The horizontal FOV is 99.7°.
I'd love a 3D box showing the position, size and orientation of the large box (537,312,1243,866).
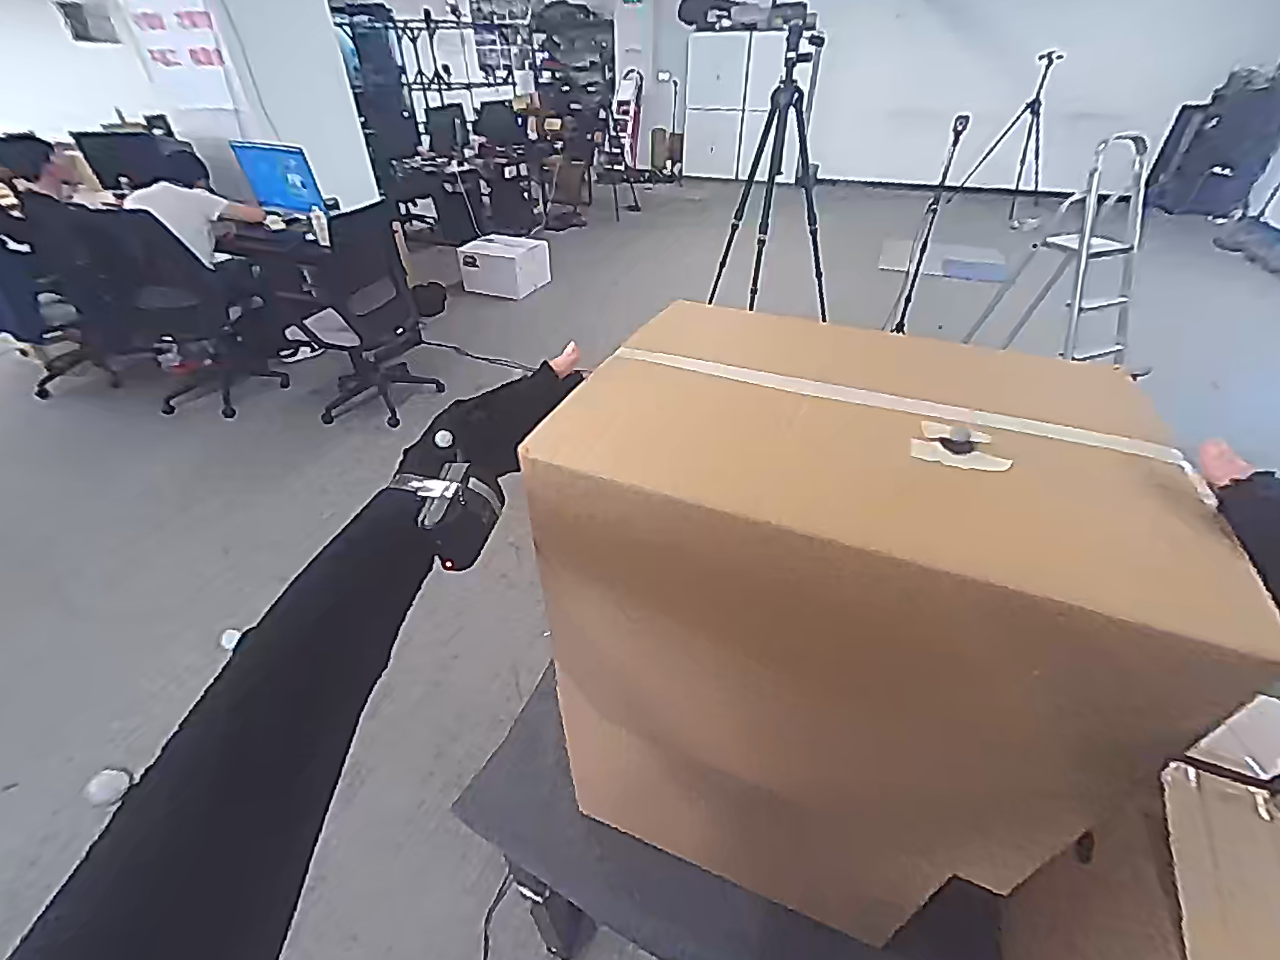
[{"bbox_3d":[0.160,0.068,0.515,0.408,0.320,0.320,16,41,17],"label":"large box"}]
